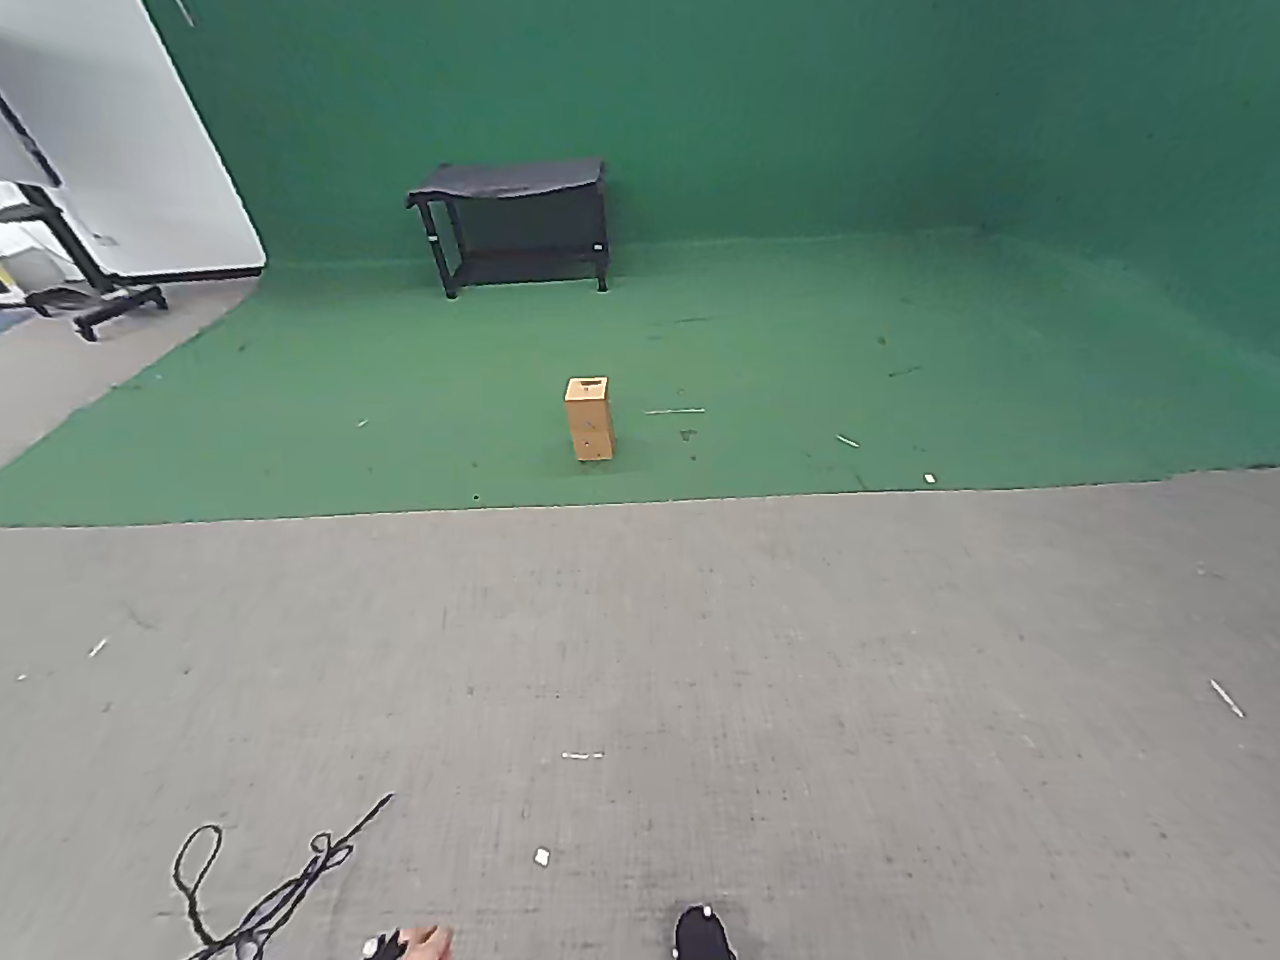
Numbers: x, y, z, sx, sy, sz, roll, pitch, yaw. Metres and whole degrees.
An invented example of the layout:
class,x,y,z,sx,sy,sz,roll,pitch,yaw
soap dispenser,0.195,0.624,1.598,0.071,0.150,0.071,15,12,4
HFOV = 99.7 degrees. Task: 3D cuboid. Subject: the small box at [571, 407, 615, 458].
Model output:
class,x,y,z,sx,sy,sz,roll,pitch,yaw
small box,-0.206,-0.210,2.442,0.168,0.176,0.179,-2,40,4
